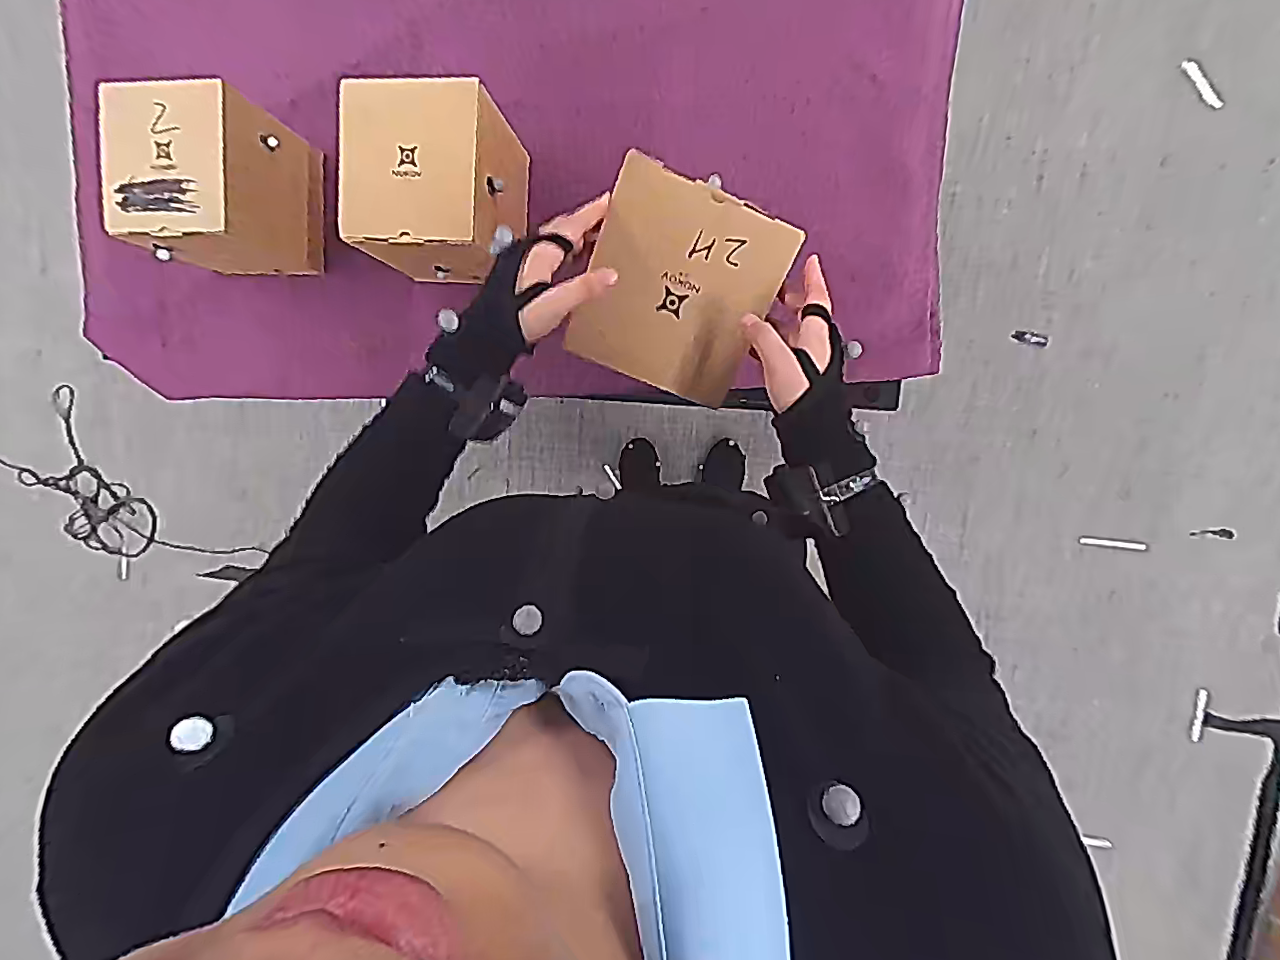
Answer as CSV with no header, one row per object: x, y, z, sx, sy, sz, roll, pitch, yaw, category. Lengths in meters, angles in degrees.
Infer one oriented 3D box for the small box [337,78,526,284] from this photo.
-0.250,-0.363,0.682,0.168,0.176,0.179,4,96,7,small box

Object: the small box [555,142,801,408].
0.032,-0.207,0.552,0.168,0.176,0.179,23,115,-11,small box
